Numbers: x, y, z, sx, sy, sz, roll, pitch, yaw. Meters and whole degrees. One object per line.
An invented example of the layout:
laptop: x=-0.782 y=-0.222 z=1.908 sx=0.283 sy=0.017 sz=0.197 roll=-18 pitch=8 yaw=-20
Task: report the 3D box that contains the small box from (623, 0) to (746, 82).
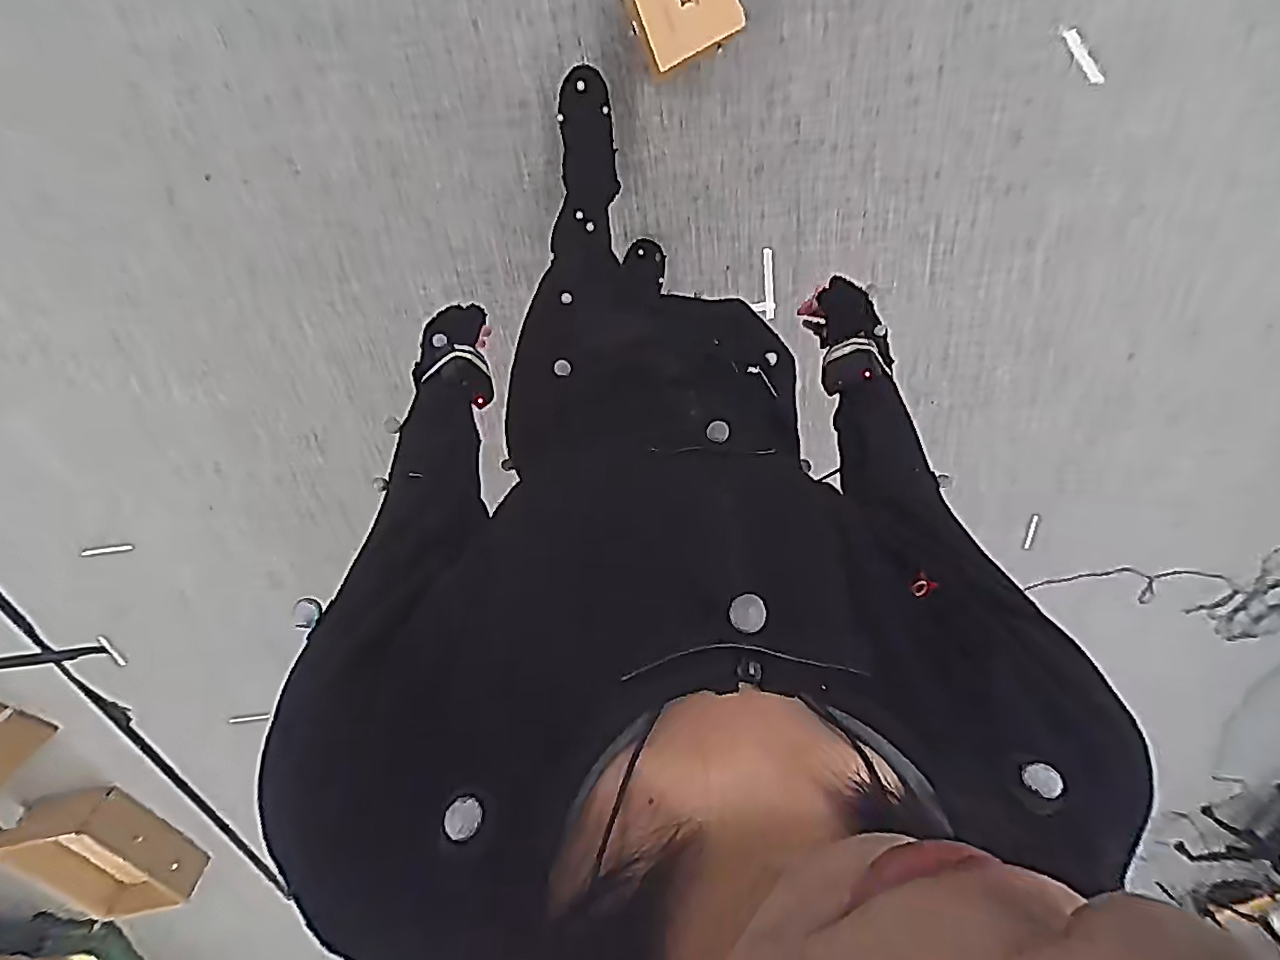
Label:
small box: x=0.078 y=-0.898 z=1.027 sx=0.179 sy=0.176 sz=0.168 roll=-24 pitch=118 yaw=10
